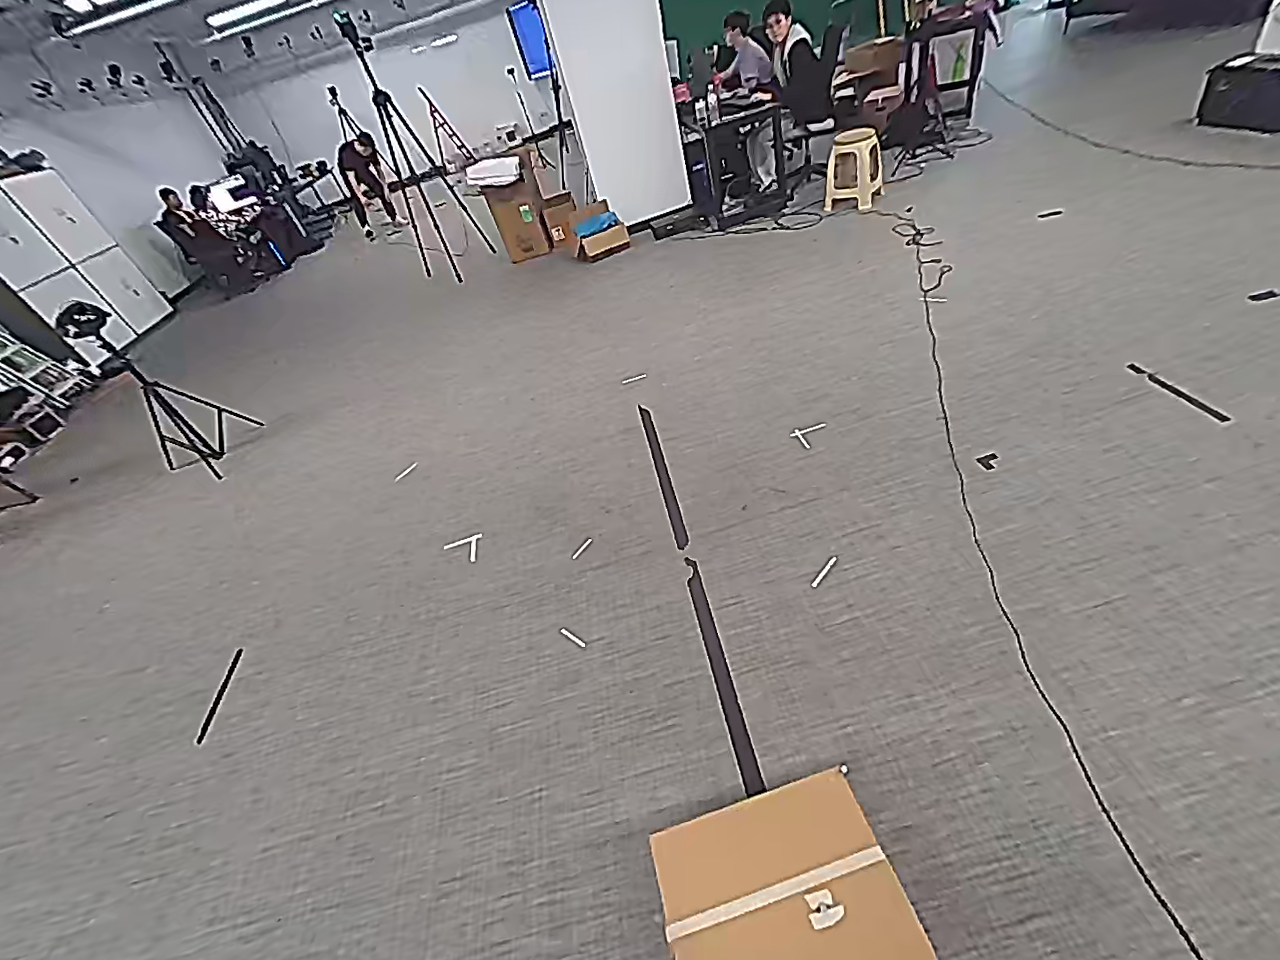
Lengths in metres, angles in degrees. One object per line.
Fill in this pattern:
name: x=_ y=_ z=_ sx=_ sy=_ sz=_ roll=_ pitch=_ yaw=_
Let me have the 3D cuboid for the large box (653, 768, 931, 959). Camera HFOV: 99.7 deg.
large box: x=0.281 y=0.847 z=1.058 sx=0.408 sy=0.320 sz=0.320 roll=-20 pitch=39 yaw=-1
